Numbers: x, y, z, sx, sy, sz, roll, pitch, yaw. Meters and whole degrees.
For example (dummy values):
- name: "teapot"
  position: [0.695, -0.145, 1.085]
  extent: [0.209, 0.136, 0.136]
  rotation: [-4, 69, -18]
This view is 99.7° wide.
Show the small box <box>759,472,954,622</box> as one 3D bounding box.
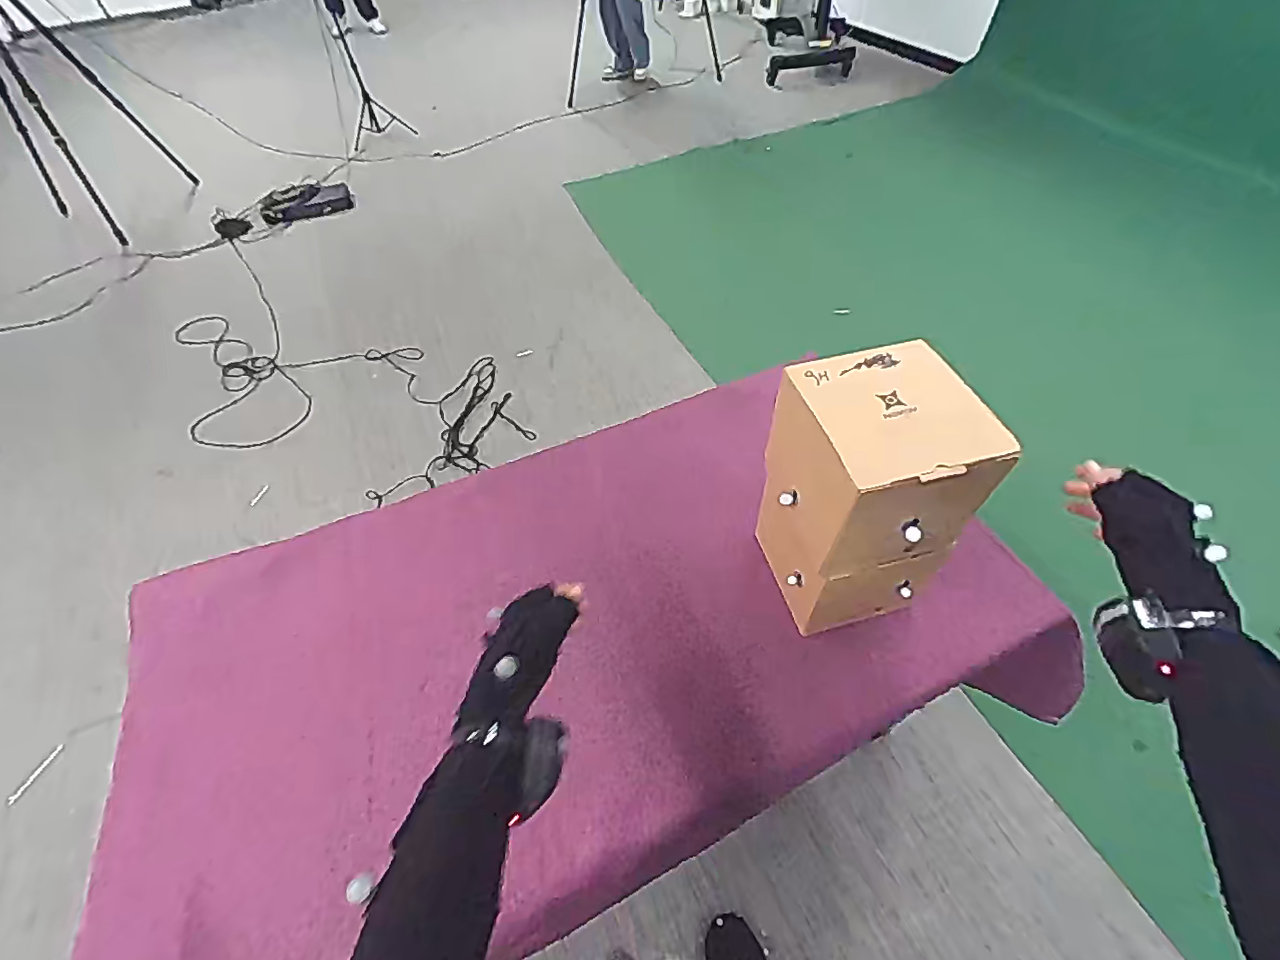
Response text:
- name: "small box"
  position: [0.273, 0.075, 0.731]
  extent: [0.168, 0.176, 0.179]
  rotation: [-13, 52, -6]

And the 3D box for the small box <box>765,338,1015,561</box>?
- name: "small box"
  position: [0.254, -0.026, 0.603]
  extent: [0.168, 0.176, 0.179]
  rotation: [-12, 54, -6]
